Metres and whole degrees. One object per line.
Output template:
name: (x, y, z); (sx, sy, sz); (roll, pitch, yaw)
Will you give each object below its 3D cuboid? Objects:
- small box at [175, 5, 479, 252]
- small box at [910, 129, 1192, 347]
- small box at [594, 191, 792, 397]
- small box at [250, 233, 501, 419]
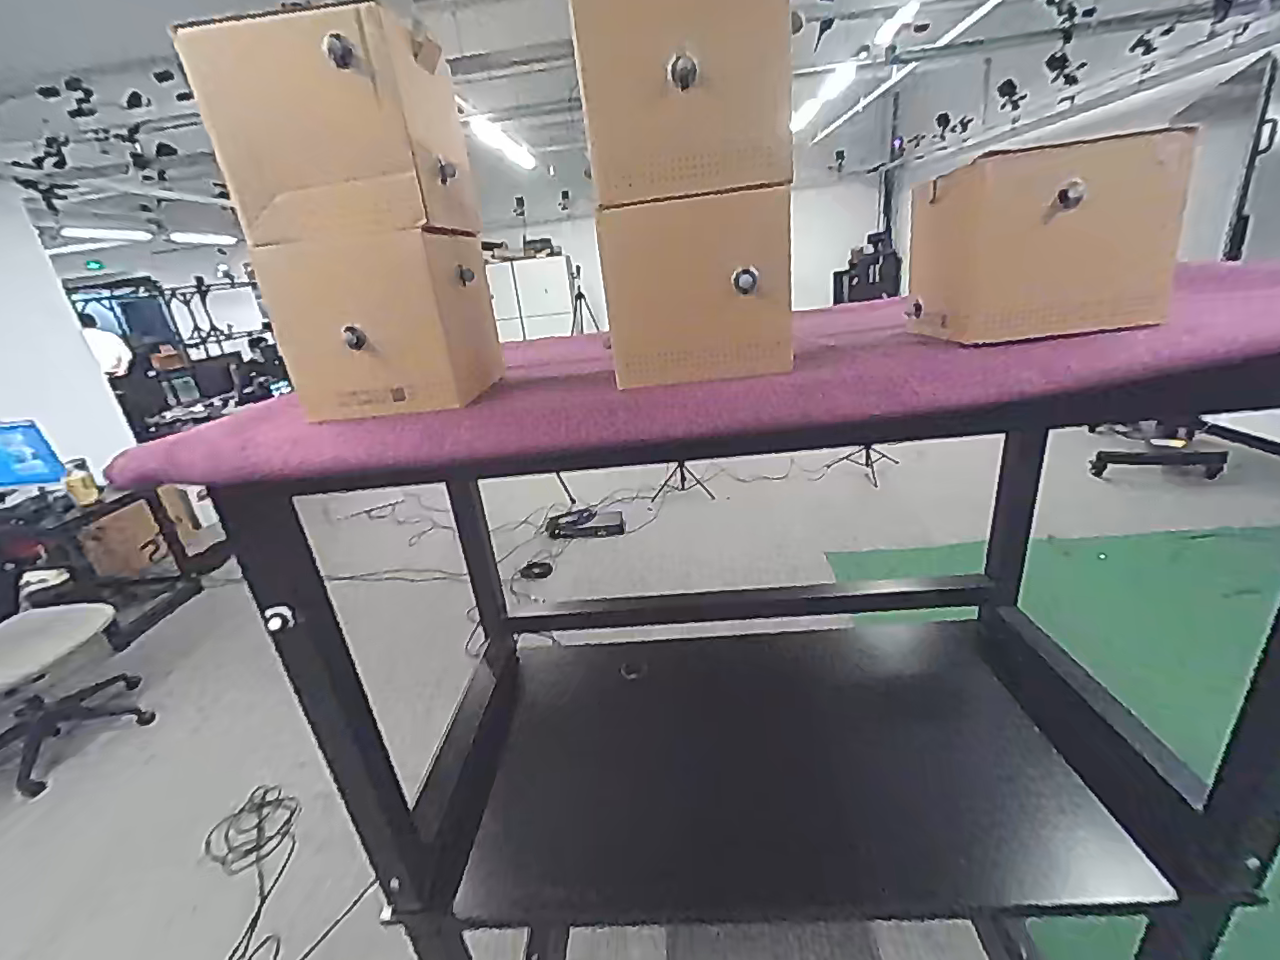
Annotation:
small box: (-0.279, -0.316, 0.530); (0.179, 0.176, 0.168); (-5, 23, 2)
small box: (0.403, -0.237, 0.567); (0.179, 0.176, 0.168); (-5, 19, 6)
small box: (0.057, -0.194, 0.574); (0.179, 0.176, 0.168); (-6, 21, 4)
small box: (-0.263, -0.166, 0.591); (0.168, 0.176, 0.179); (-4, 22, 3)
